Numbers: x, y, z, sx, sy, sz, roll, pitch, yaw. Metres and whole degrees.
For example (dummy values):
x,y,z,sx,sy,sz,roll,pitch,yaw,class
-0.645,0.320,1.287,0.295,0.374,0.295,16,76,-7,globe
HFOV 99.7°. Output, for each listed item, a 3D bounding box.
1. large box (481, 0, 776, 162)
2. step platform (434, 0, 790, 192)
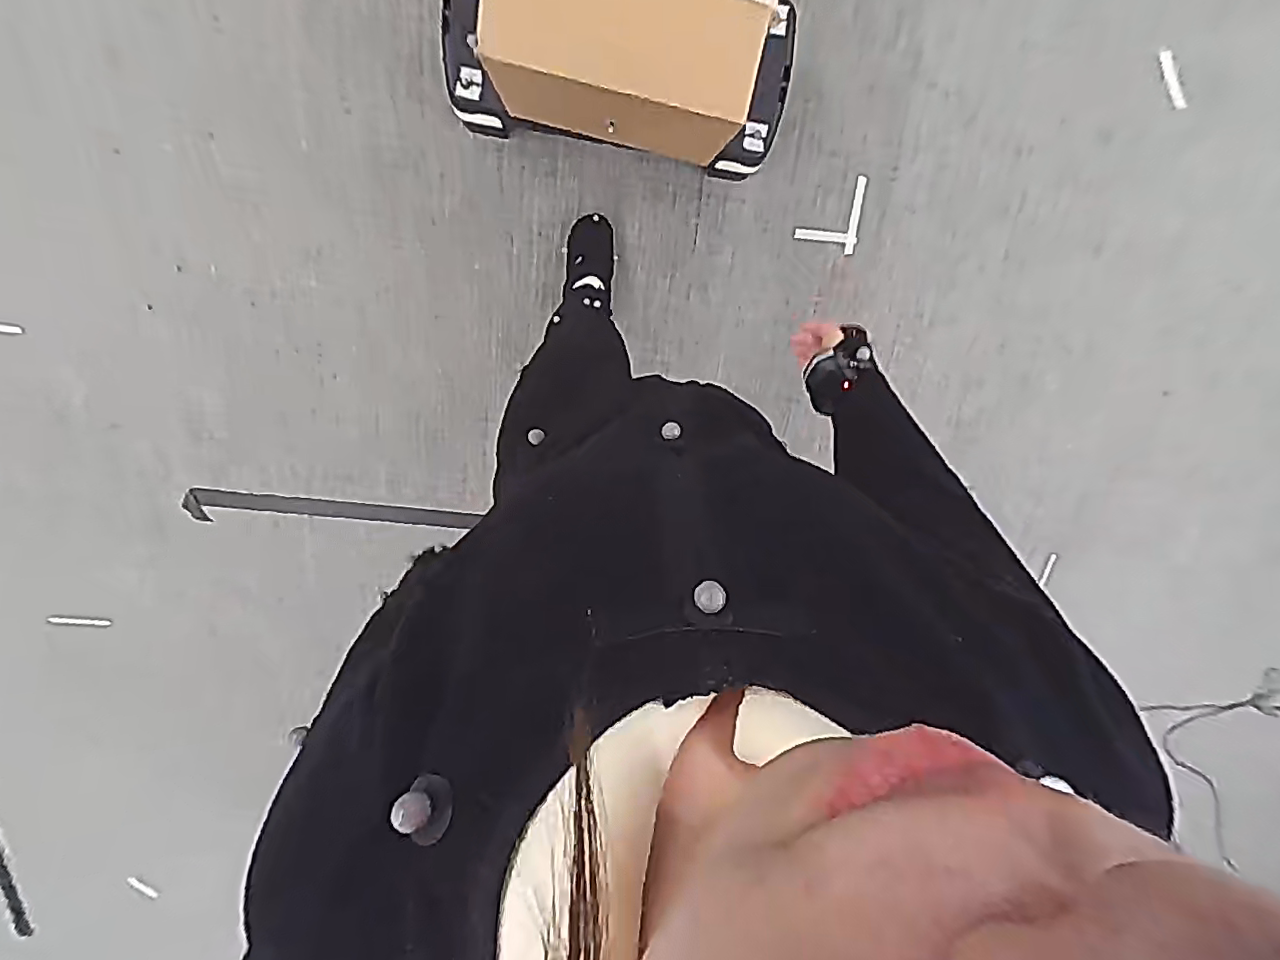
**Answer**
x,y,z,sx,sy,sz,roll,pitch,yaw,class
-0.009,-0.752,0.875,0.408,0.320,0.320,10,108,-7,large box
-0.053,-0.832,1.097,0.684,0.204,0.286,12,108,-8,step platform
